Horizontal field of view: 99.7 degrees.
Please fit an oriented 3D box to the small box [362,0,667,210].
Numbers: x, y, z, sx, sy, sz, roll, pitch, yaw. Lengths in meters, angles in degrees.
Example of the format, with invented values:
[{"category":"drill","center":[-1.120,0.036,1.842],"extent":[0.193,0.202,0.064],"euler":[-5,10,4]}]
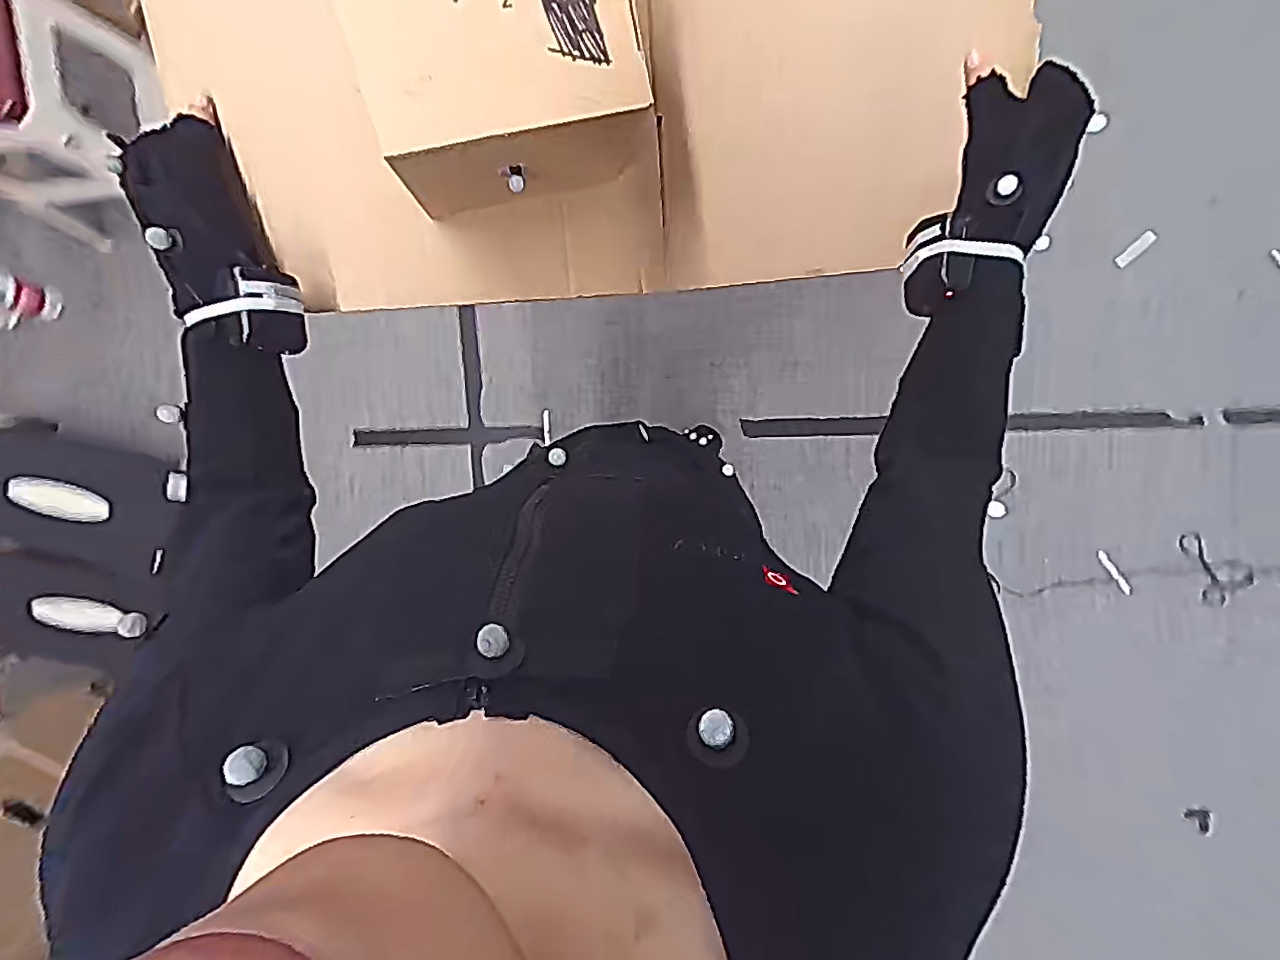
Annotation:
[{"category":"small box","center":[-0.095,-0.319,0.404],"extent":[0.179,0.176,0.168],"euler":[-14,106,-7]}]
